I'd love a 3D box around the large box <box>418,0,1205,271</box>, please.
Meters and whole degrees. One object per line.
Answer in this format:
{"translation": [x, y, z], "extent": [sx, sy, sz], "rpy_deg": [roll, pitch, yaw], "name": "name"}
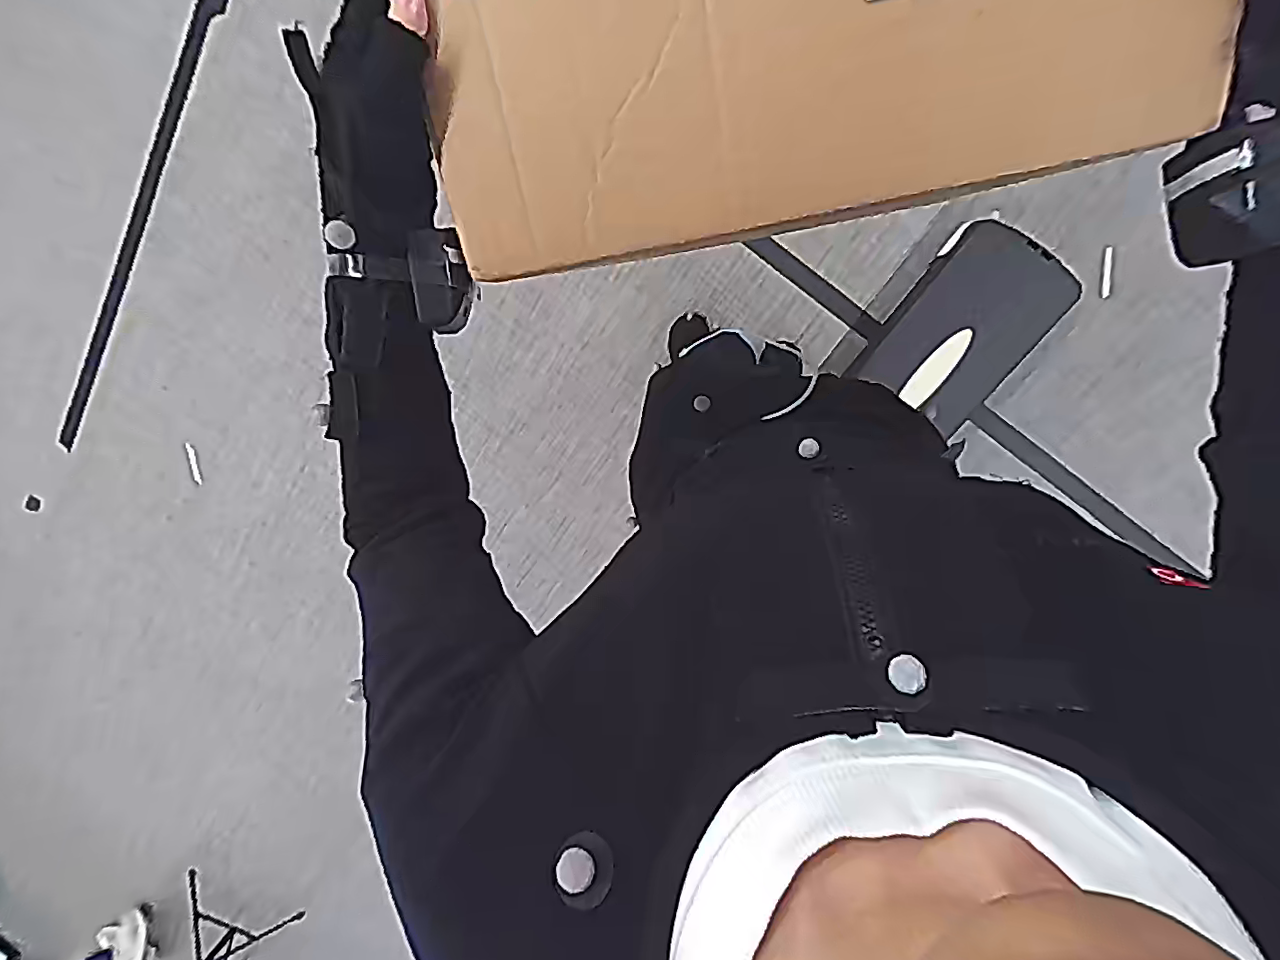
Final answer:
{"translation": [0.082, -0.359, 0.404], "extent": [0.408, 0.320, 0.320], "rpy_deg": [-8, 112, 10], "name": "large box"}
